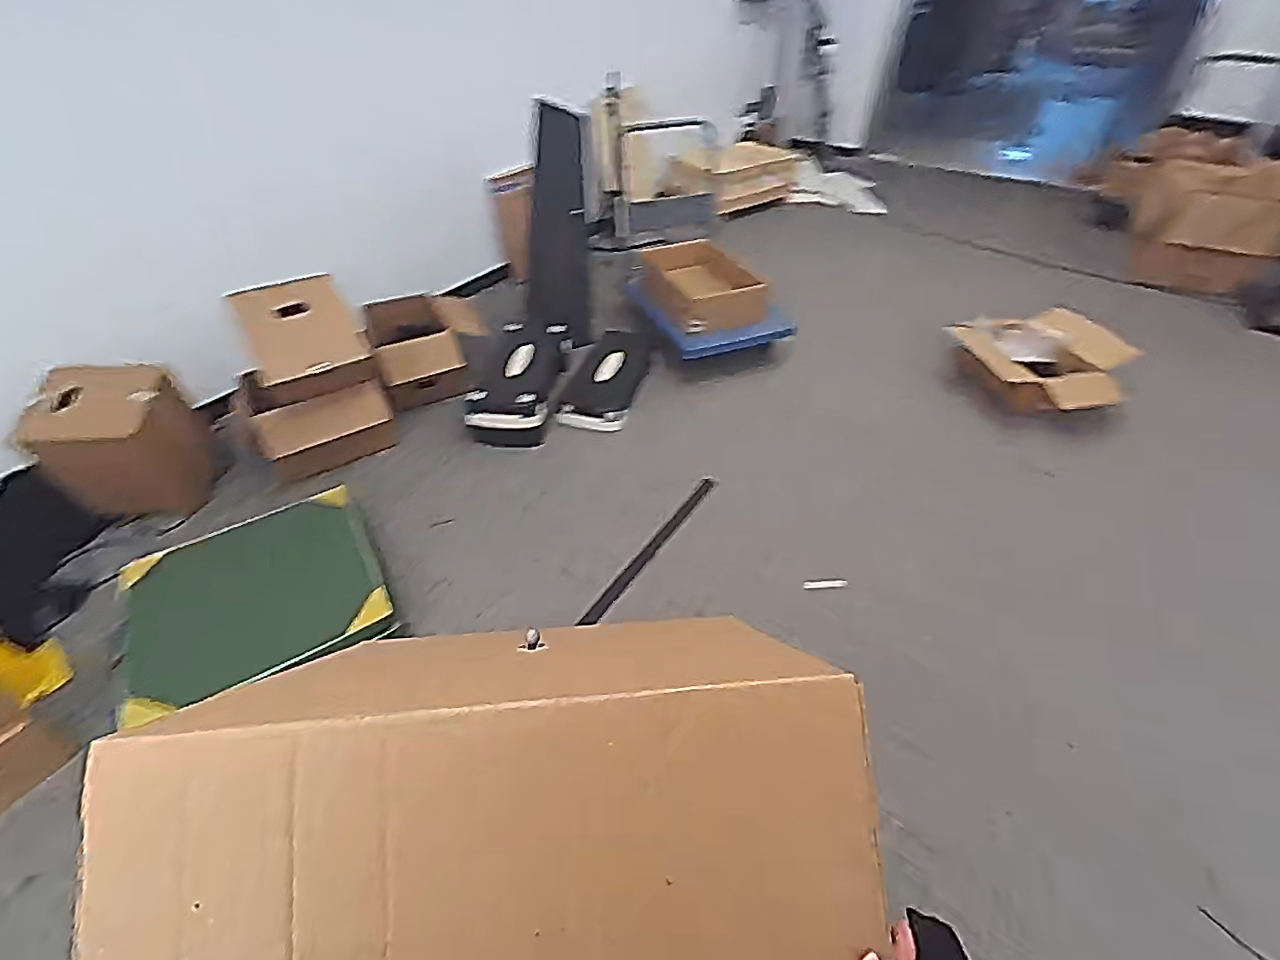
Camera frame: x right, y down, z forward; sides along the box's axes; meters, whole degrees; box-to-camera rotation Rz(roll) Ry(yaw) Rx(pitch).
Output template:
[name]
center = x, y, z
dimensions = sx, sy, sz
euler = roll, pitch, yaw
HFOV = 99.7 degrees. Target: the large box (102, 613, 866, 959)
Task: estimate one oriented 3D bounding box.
[large box]
center = -0.078, 0.301, 0.432
dimensions = 0.408, 0.320, 0.320
euler = -5, 83, -4
